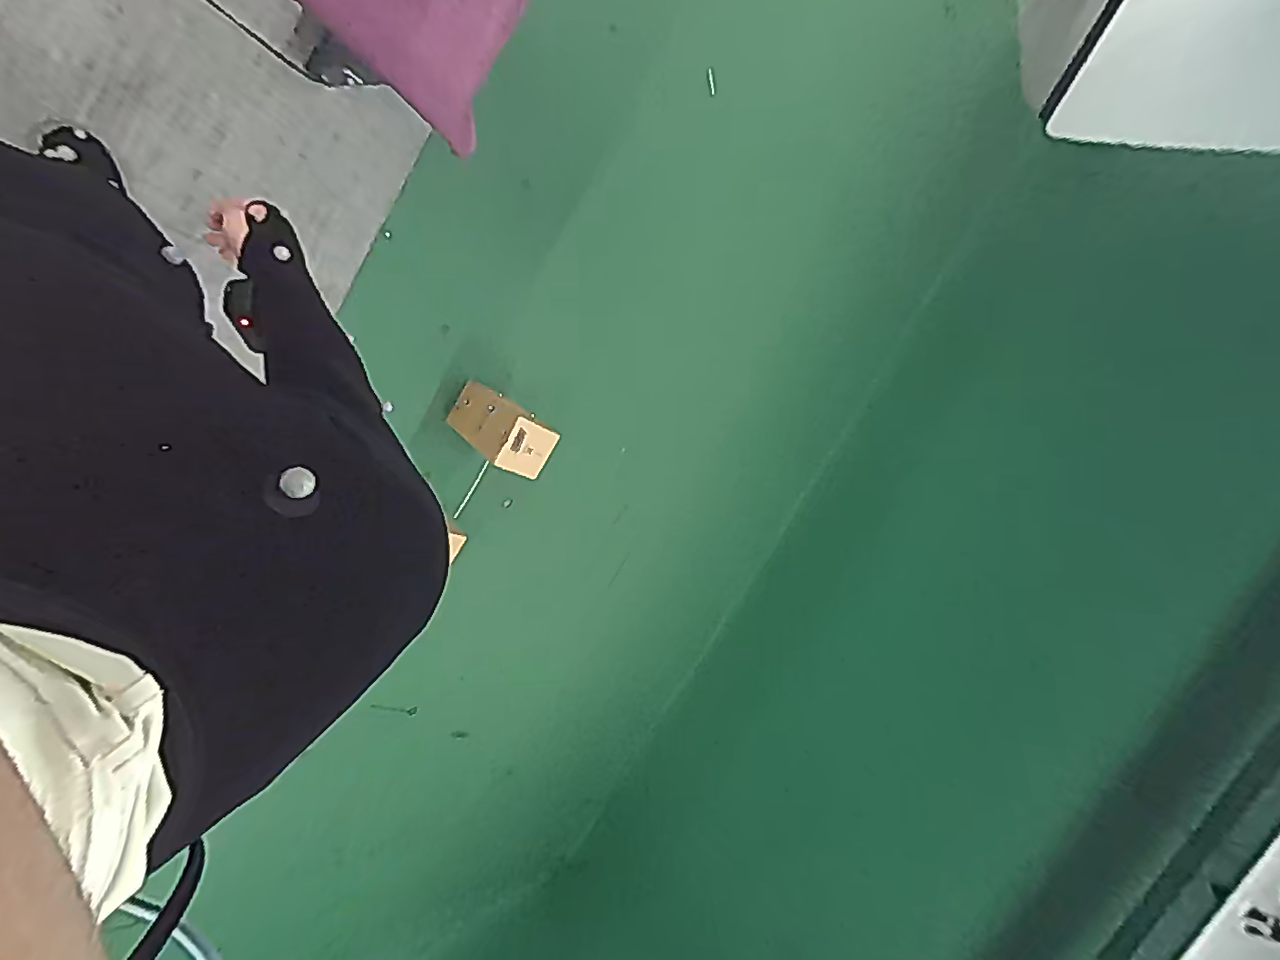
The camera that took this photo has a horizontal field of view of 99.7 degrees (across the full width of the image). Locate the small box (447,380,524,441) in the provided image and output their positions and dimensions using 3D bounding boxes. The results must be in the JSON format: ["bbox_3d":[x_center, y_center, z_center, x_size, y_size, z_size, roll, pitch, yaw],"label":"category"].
[{"bbox_3d":[-0.503,-0.210,1.798,0.179,0.176,0.168,24,98,-51],"label":"small box"}]

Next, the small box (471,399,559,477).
[{"bbox_3d":[-0.397,-0.137,1.696,0.179,0.176,0.168,24,99,-52],"label":"small box"}]
